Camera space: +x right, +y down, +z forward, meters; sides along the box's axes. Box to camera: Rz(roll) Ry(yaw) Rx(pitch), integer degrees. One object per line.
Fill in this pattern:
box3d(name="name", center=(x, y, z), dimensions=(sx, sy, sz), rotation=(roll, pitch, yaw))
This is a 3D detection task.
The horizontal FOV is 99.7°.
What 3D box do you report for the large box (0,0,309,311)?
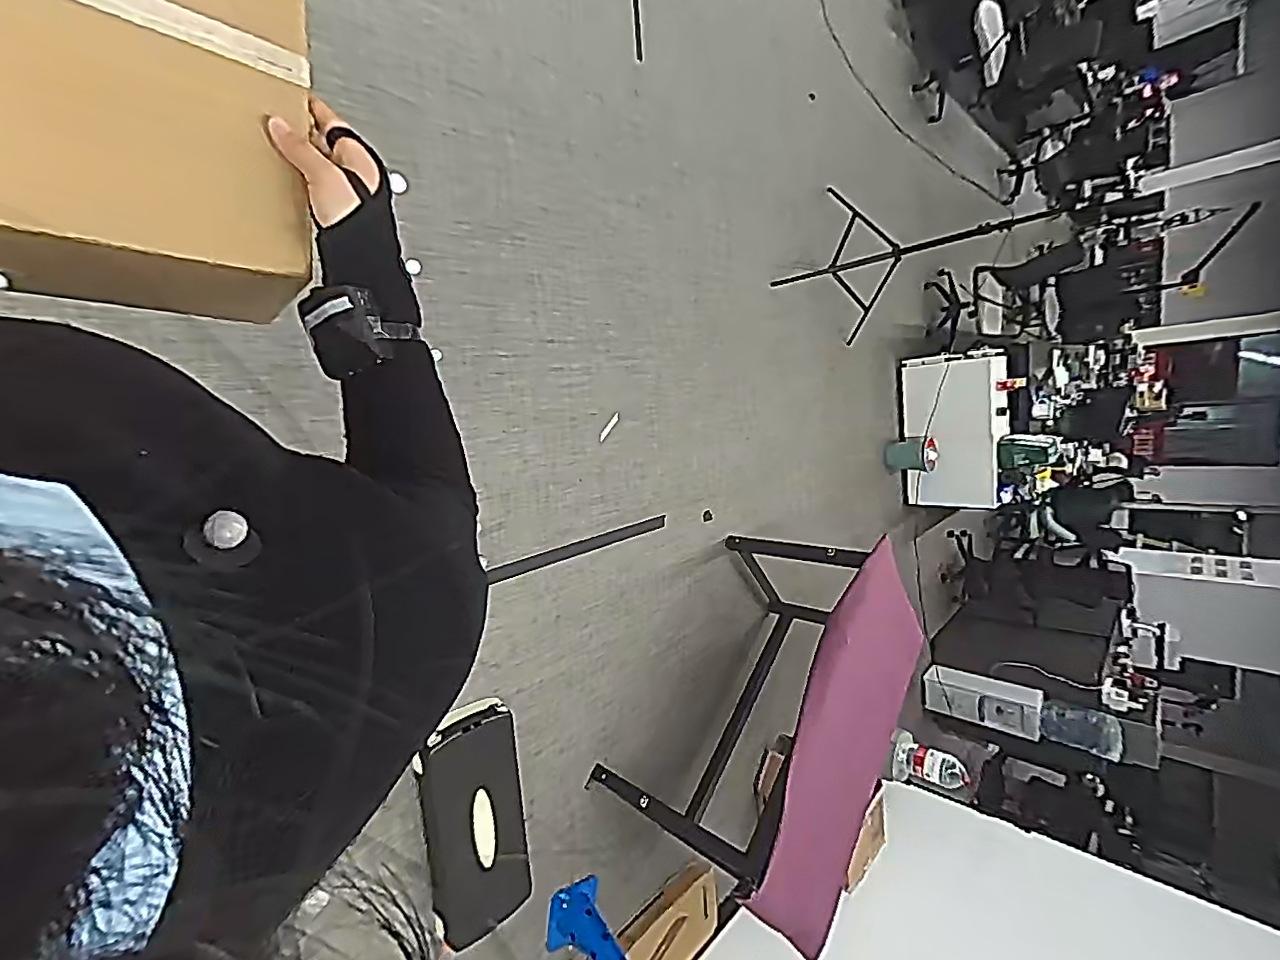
box3d(name="large box", center=(-0.523, -0.333, 0.429), dimensions=(0.408, 0.320, 0.320), rotation=(-3, 97, -40))
